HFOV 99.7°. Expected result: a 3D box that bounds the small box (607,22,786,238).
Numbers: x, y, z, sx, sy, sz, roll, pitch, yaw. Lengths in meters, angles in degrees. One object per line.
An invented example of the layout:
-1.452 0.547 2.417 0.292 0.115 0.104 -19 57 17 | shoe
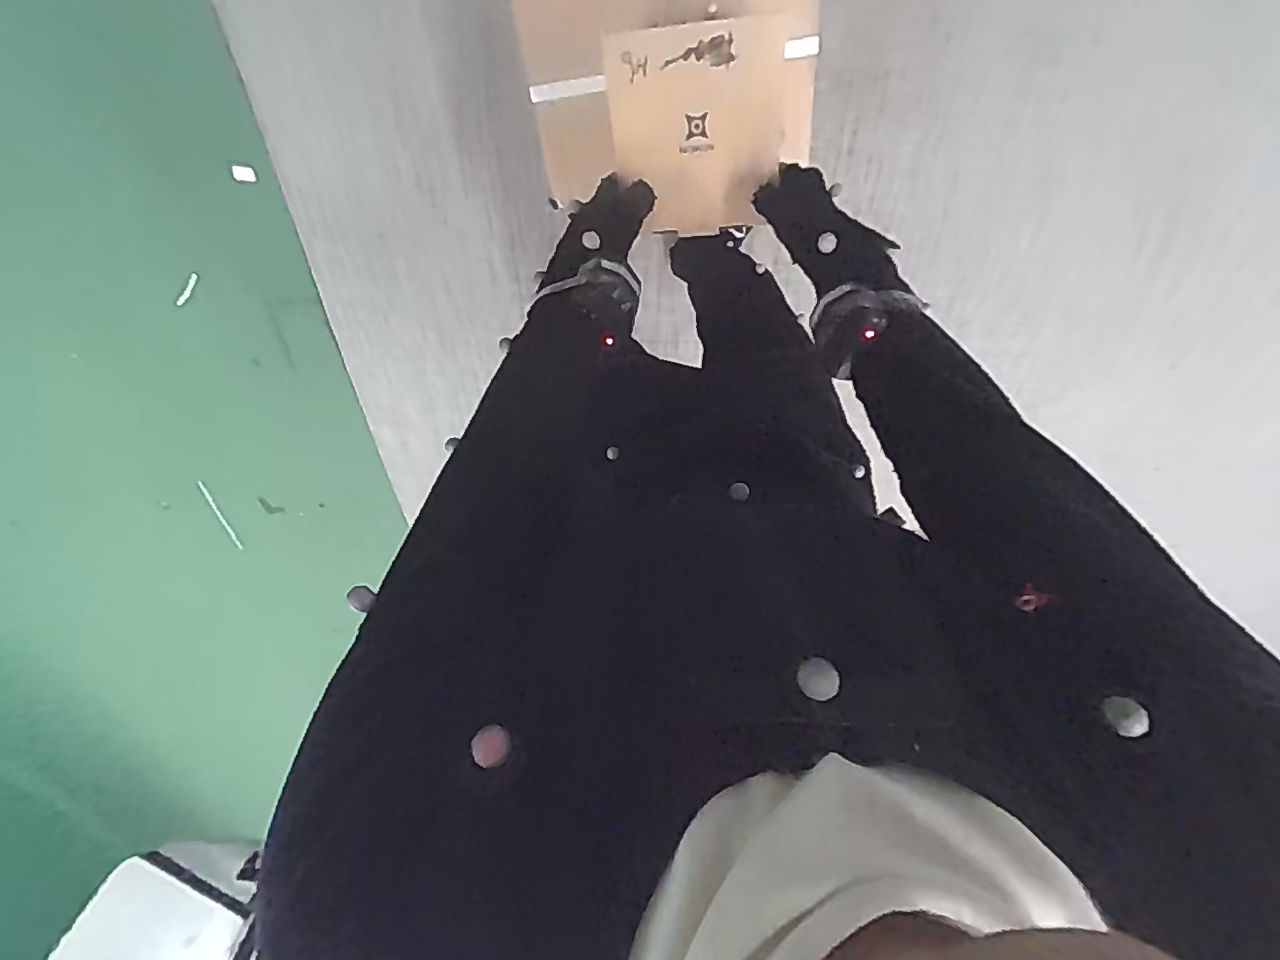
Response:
0.064 -0.390 0.604 0.168 0.176 0.179 -2 129 7 | small box
